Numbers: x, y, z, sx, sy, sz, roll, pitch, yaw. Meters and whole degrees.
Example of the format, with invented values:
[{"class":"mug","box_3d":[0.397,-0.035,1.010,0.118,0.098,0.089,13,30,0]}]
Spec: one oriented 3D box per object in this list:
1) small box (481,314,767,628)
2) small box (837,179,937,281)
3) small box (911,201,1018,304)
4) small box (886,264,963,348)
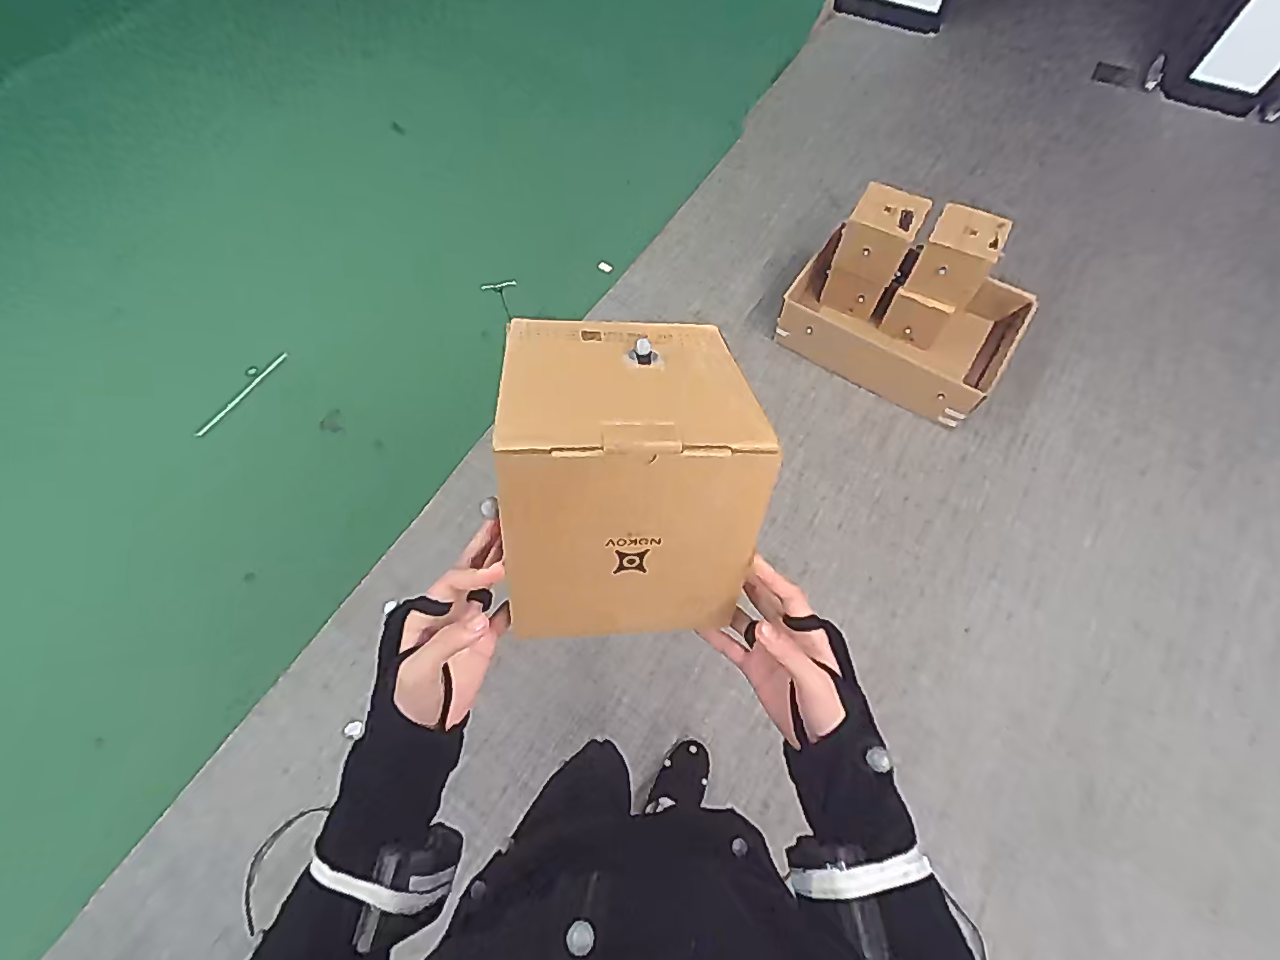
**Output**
[{"class":"small box","box_3d":[-0.020,-0.008,0.416,0.168,0.179,0.176,-1,39,-7]},{"class":"small box","box_3d":[0.677,-0.686,1.501,0.179,0.176,0.168,28,72,15]},{"class":"small box","box_3d":[0.862,-0.607,1.454,0.179,0.176,0.168,27,71,17]},{"class":"small box","box_3d":[0.858,-0.530,1.600,0.168,0.176,0.179,31,73,18]}]
